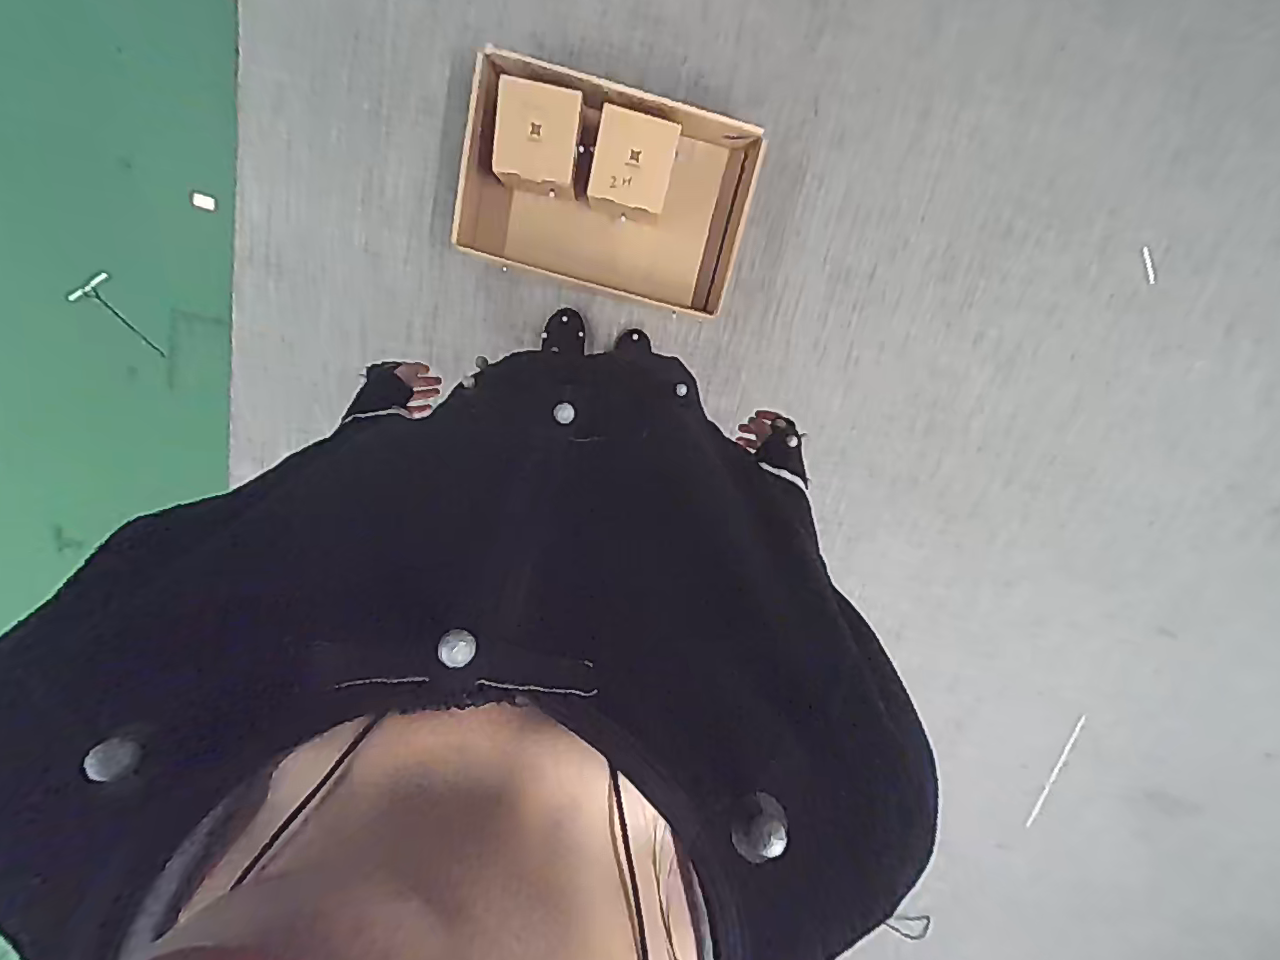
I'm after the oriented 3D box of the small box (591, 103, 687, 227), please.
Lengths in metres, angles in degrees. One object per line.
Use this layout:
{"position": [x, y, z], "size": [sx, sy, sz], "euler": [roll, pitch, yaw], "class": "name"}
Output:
{"position": [-0.005, -0.682, 1.192], "size": [0.168, 0.176, 0.179], "euler": [14, 106, -4], "class": "small box"}
